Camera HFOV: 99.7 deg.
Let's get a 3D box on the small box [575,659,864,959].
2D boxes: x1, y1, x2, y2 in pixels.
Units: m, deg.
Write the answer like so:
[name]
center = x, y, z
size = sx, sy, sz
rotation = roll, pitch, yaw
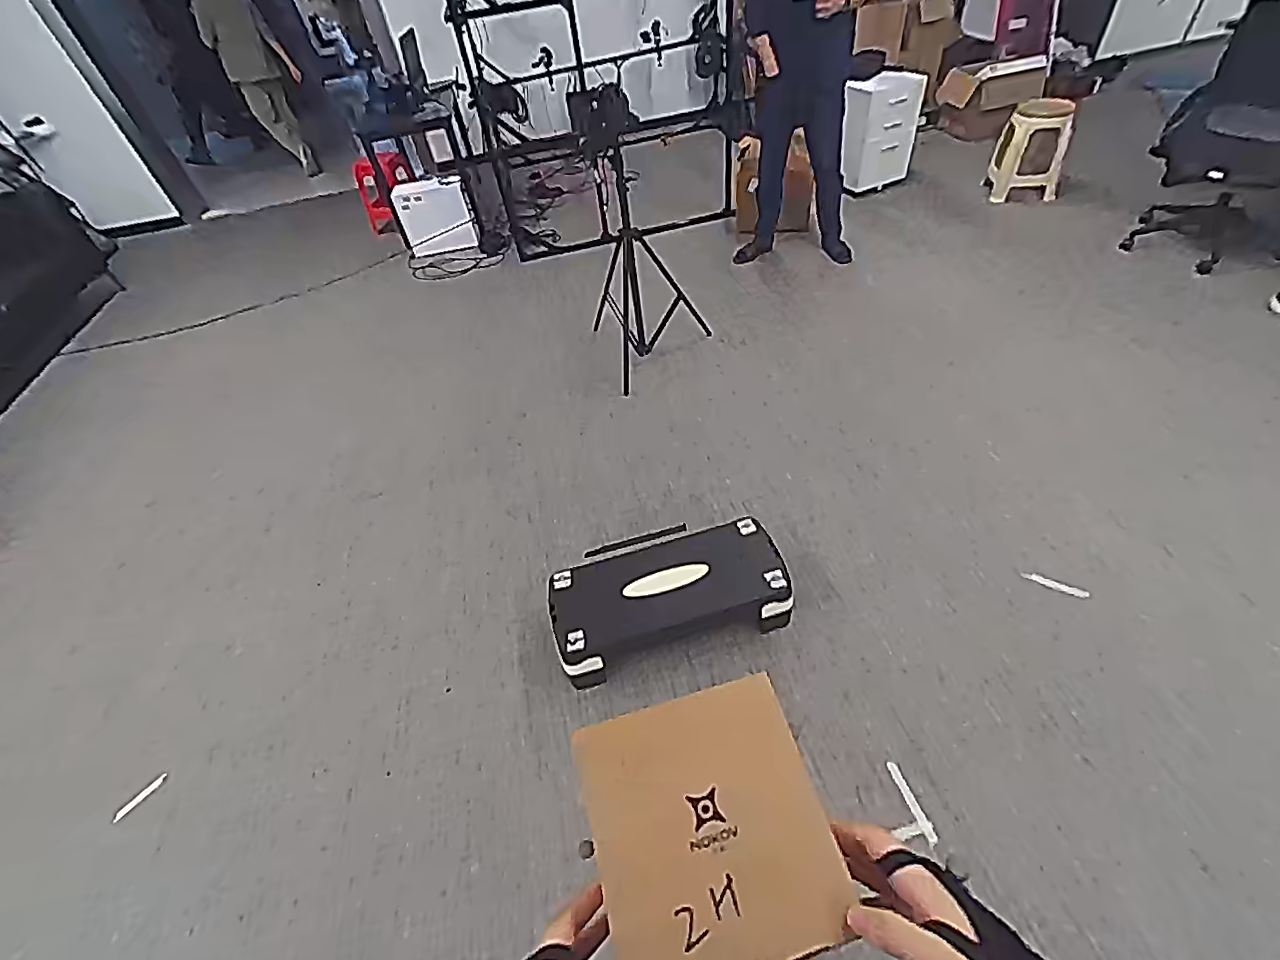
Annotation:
[small box]
center = 0.049, 0.280, 0.455
size = 0.168, 0.176, 0.179
rotation = -14, 55, -8
